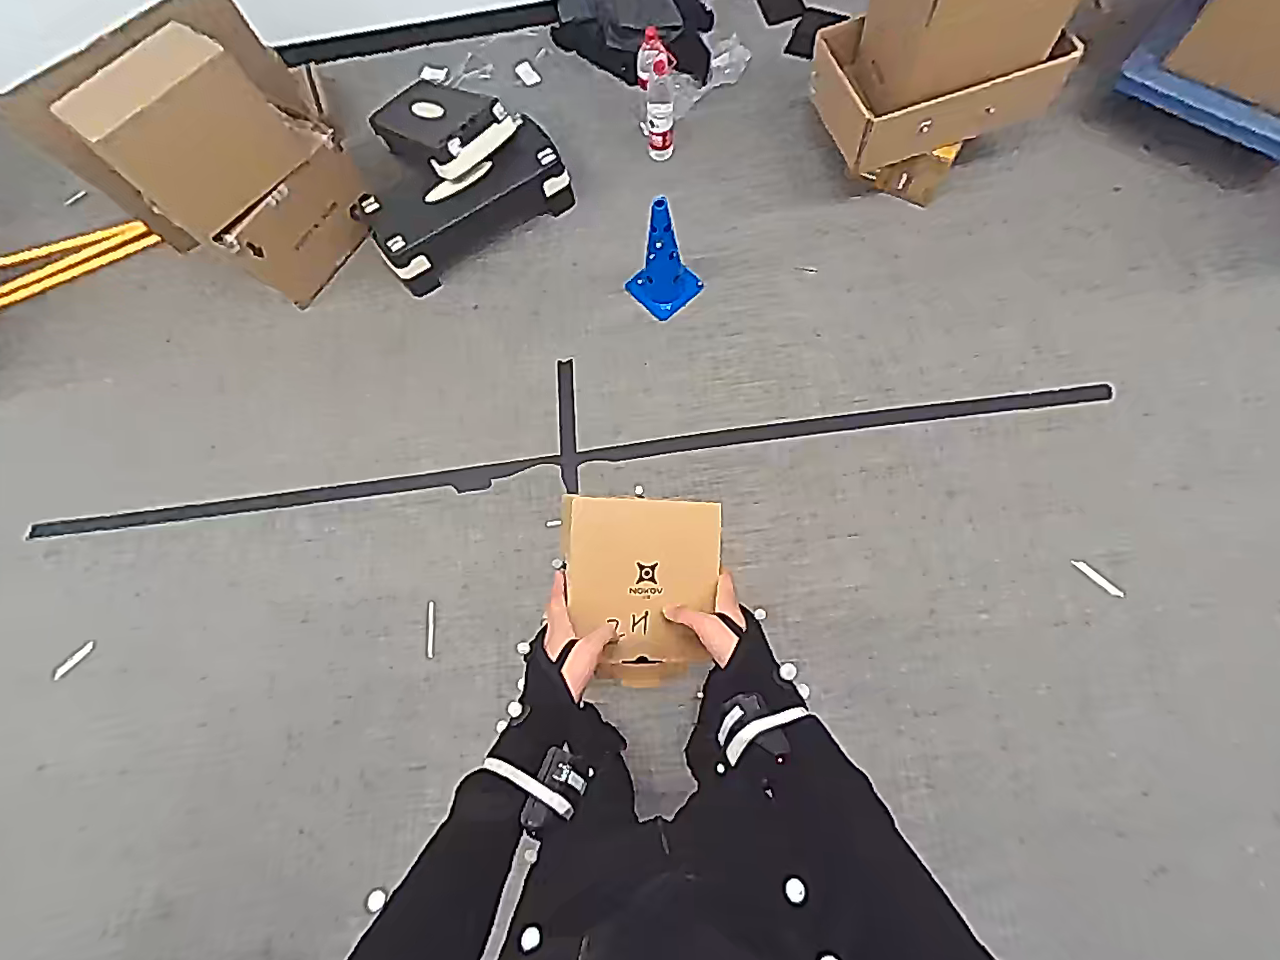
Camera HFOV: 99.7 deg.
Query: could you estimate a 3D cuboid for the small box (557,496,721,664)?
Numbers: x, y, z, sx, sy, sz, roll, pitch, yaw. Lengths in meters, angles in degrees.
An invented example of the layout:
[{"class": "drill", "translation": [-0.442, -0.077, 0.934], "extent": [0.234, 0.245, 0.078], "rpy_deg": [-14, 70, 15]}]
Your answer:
[{"class": "small box", "translation": [-0.011, 0.111, 0.654], "extent": [0.168, 0.176, 0.179], "rpy_deg": [4, 88, -11]}]
